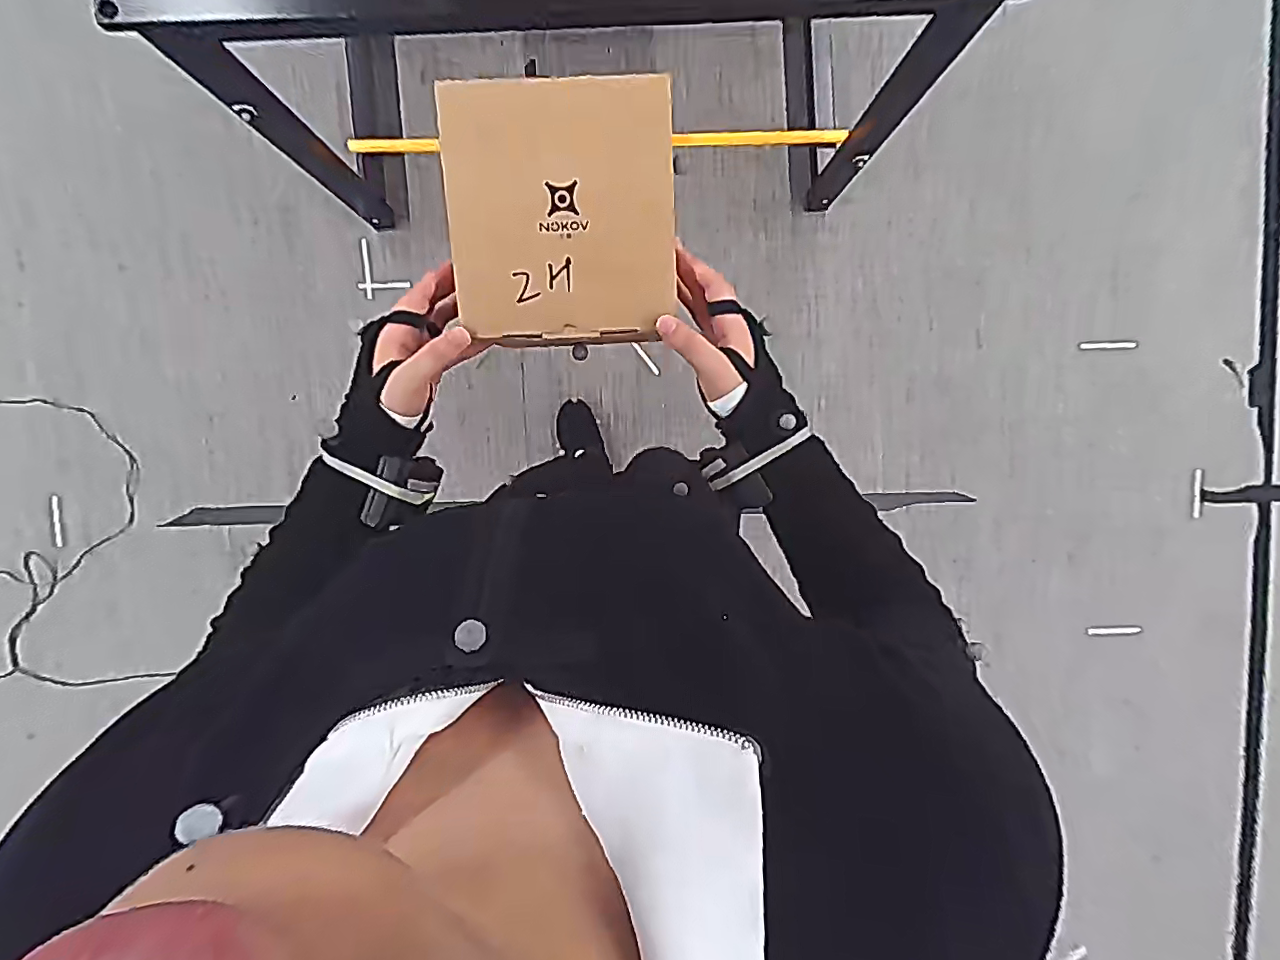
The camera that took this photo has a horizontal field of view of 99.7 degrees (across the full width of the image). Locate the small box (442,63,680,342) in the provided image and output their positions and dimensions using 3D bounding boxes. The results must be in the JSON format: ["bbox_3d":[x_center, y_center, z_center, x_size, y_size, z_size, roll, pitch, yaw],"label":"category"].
[{"bbox_3d":[-0.057,-0.217,0.467,0.168,0.176,0.179,-2,101,-1],"label":"small box"}]
